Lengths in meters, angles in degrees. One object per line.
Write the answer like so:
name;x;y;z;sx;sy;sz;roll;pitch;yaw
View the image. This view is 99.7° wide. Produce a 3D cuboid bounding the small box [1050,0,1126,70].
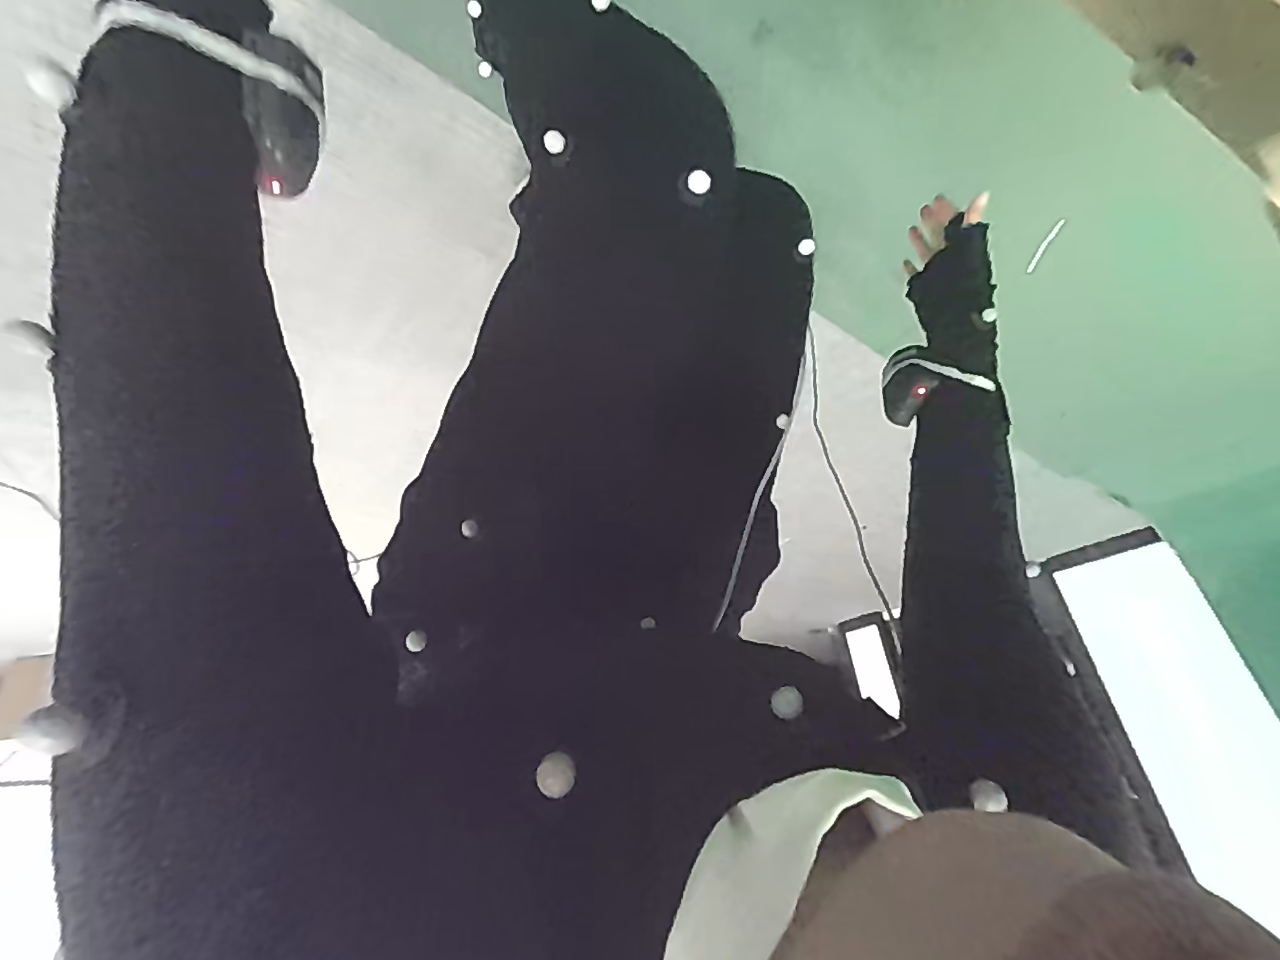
small box;0.271;-0.352;0.249;0.168;0.176;0.179;15;145;-33
